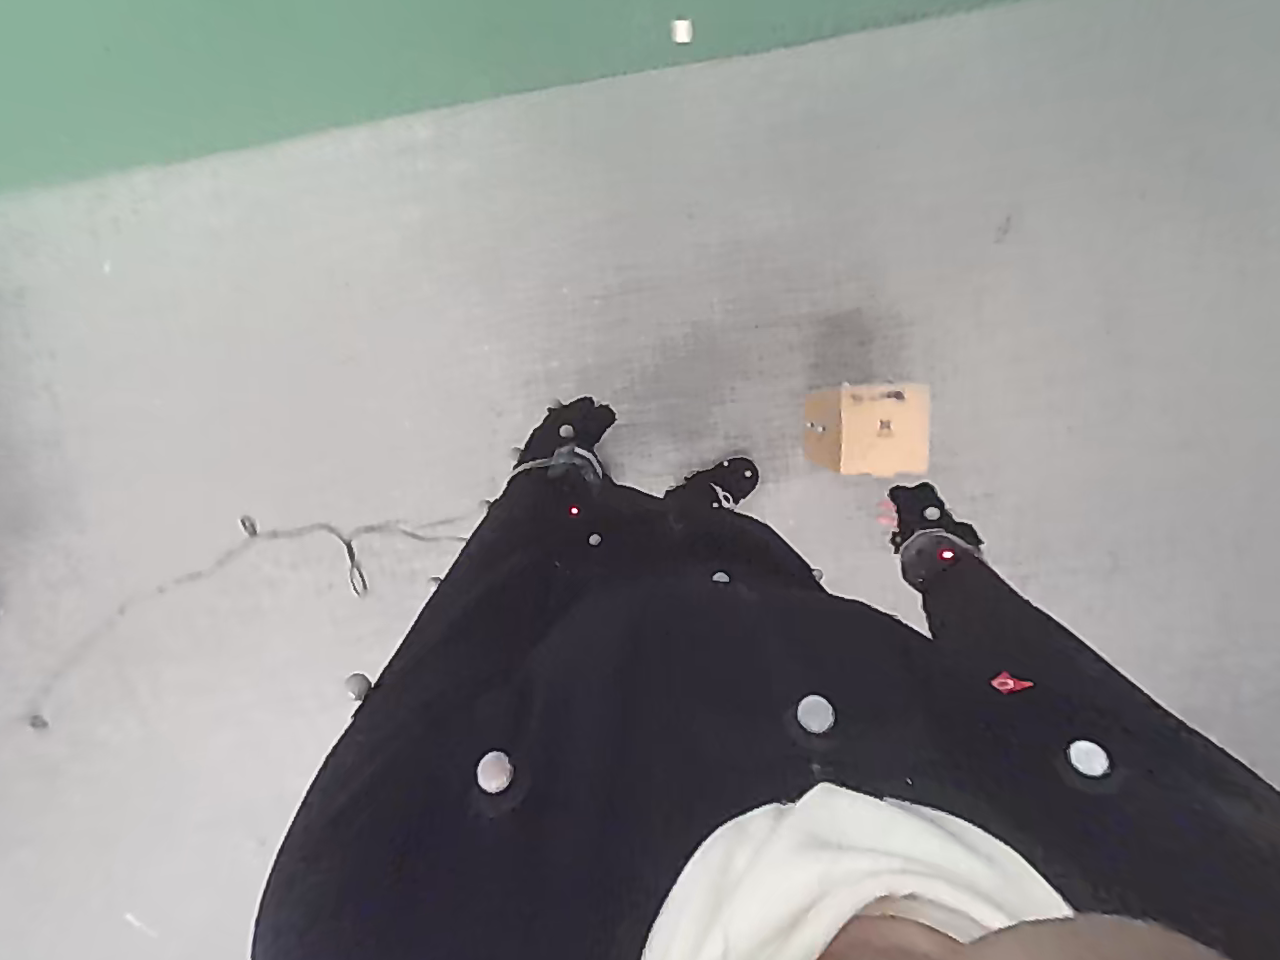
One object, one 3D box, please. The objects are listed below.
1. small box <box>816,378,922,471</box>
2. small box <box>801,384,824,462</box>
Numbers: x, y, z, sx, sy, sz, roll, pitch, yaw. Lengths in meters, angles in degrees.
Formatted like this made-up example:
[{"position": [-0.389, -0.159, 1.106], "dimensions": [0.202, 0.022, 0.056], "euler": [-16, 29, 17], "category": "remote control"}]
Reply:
[{"position": [0.470, -0.118, 1.129], "dimensions": [0.168, 0.176, 0.179], "euler": [-2, 97, 7], "category": "small box"}, {"position": [0.486, -0.139, 1.288], "dimensions": [0.168, 0.176, 0.179], "euler": [-1, 97, 5], "category": "small box"}]
